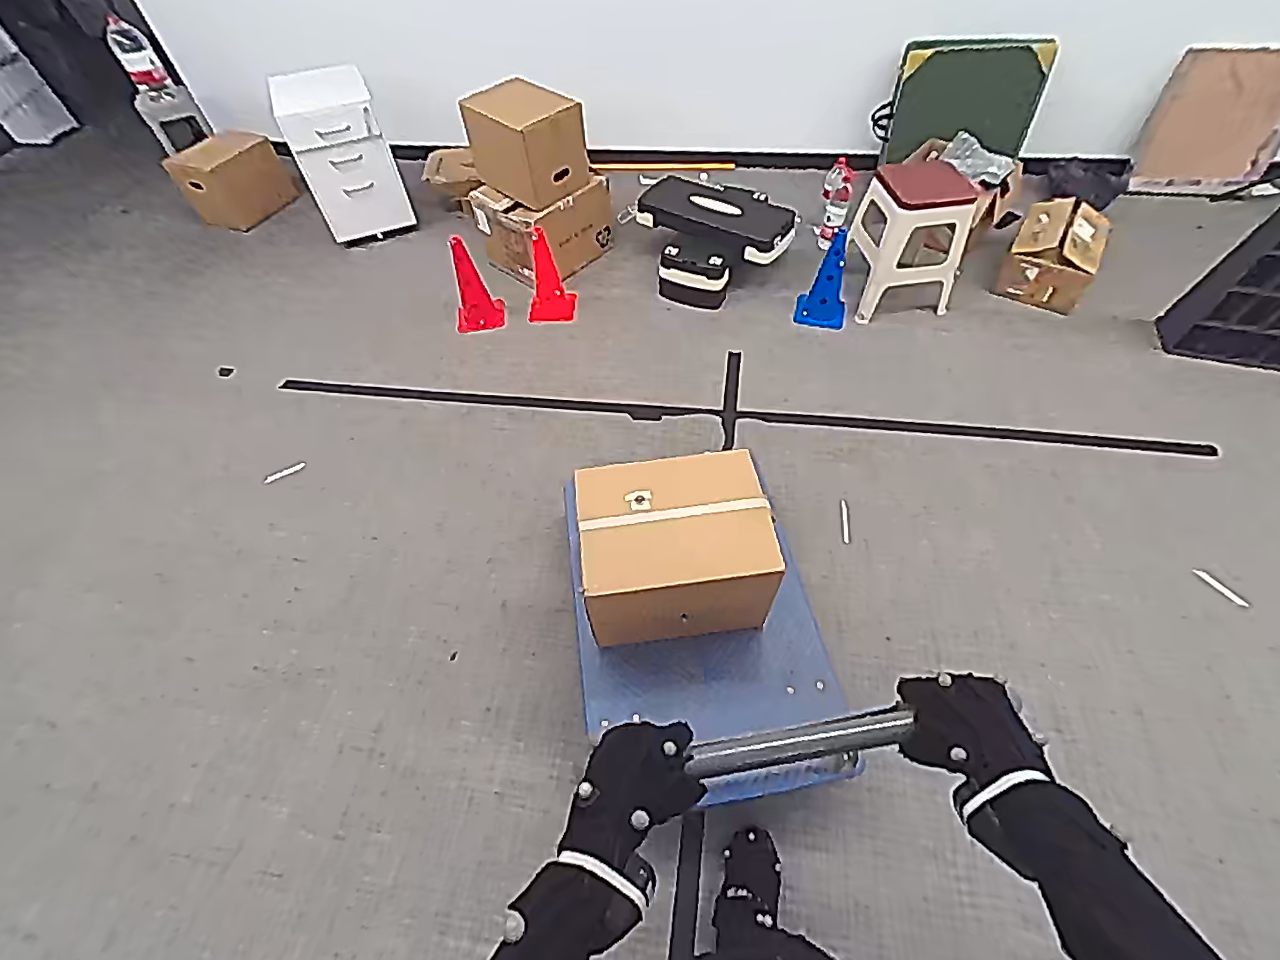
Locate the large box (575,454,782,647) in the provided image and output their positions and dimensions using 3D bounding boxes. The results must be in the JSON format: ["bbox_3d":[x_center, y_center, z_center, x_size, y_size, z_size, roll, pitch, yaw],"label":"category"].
[{"bbox_3d":[0.076,0.174,1.269,0.408,0.320,0.320,-7,55,-2],"label":"large box"}]
